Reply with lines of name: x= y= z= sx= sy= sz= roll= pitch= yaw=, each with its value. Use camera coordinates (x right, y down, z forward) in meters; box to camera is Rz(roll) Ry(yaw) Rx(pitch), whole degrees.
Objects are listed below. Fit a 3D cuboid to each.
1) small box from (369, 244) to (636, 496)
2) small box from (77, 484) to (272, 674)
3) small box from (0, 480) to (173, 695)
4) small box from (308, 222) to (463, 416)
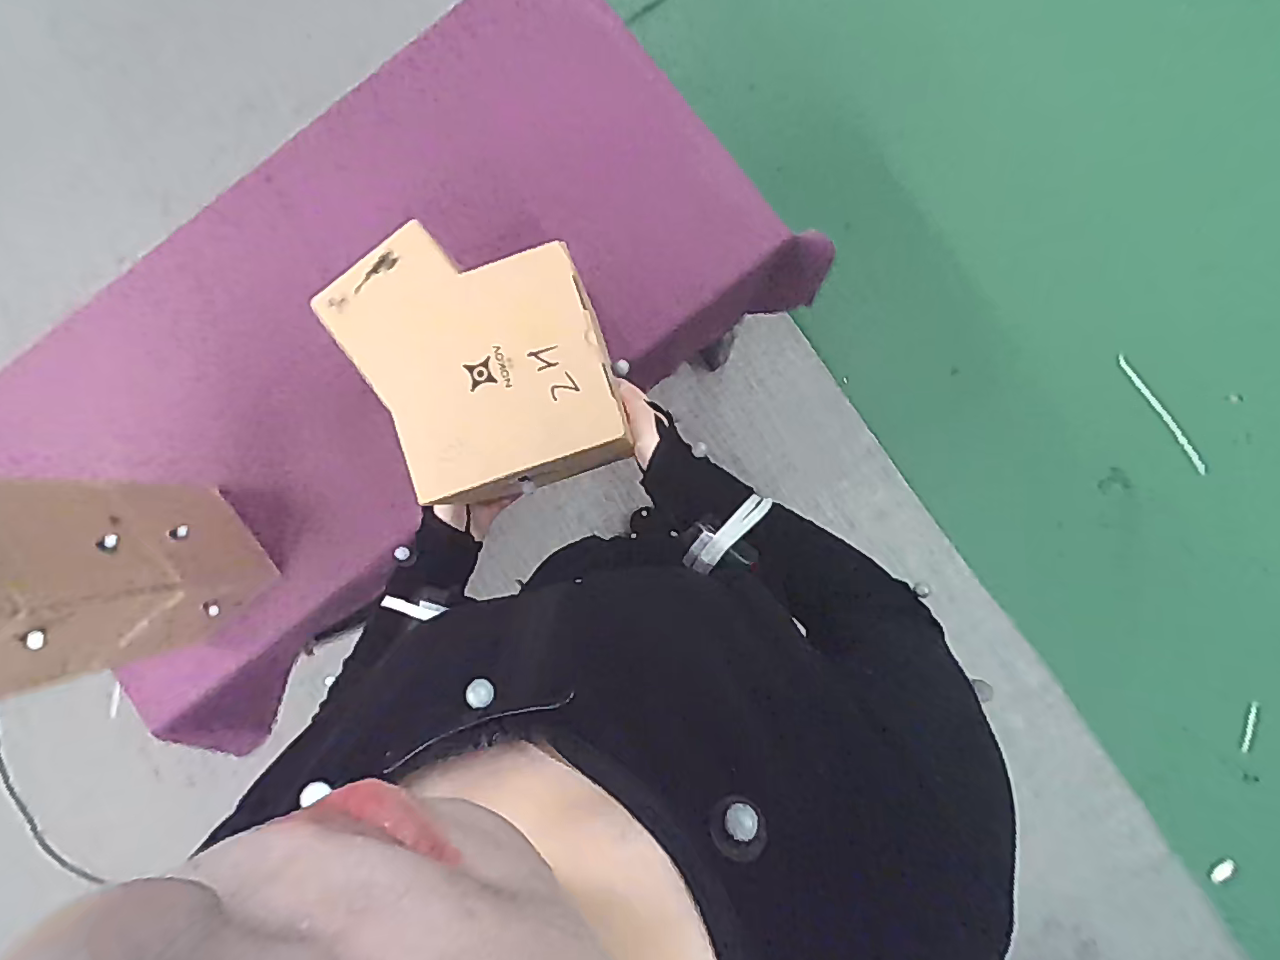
small box: x=-0.111 y=-0.083 z=0.508 sx=0.179 sy=0.176 sz=0.168 roll=-17 pitch=88 yaw=2
small box: x=-0.657 y=0.122 z=0.732 sx=0.168 sy=0.176 sz=0.179 roll=-39 pitch=86 yaw=0
small box: x=-0.668 y=0.117 z=0.570 sx=0.179 sy=0.176 sz=0.168 roll=-41 pitch=87 yaw=-1
small box: x=-0.282 y=-0.194 z=0.726 sx=0.168 sy=0.176 sz=0.179 roll=-38 pitch=87 yaw=1
